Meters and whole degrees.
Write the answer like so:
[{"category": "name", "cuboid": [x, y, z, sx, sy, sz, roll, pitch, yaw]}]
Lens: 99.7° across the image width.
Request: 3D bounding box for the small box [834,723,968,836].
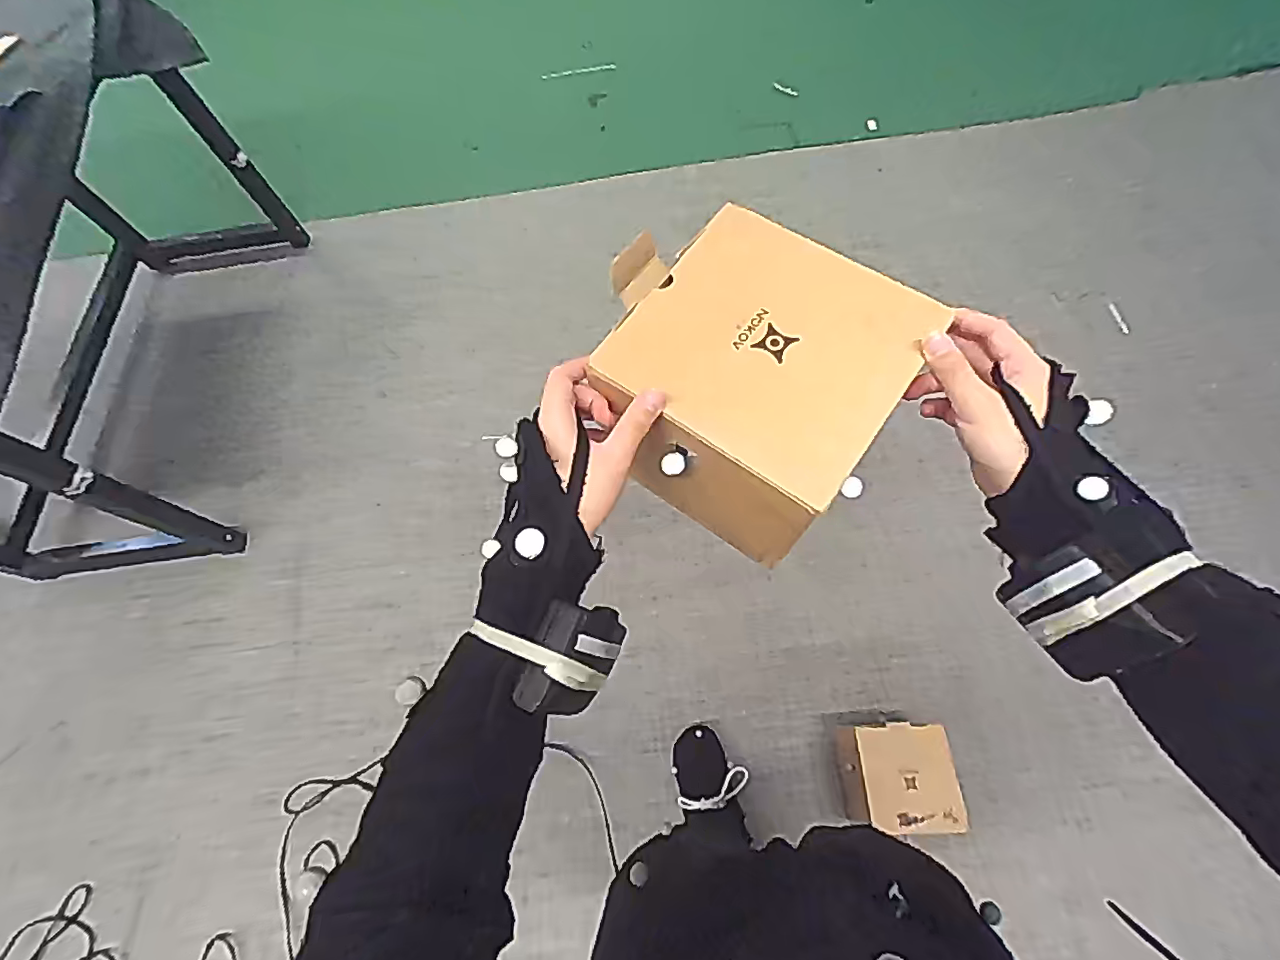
[{"category": "small box", "cuboid": [0.489, 0.571, 1.044, 0.168, 0.176, 0.179, -4, 65, 3]}]
